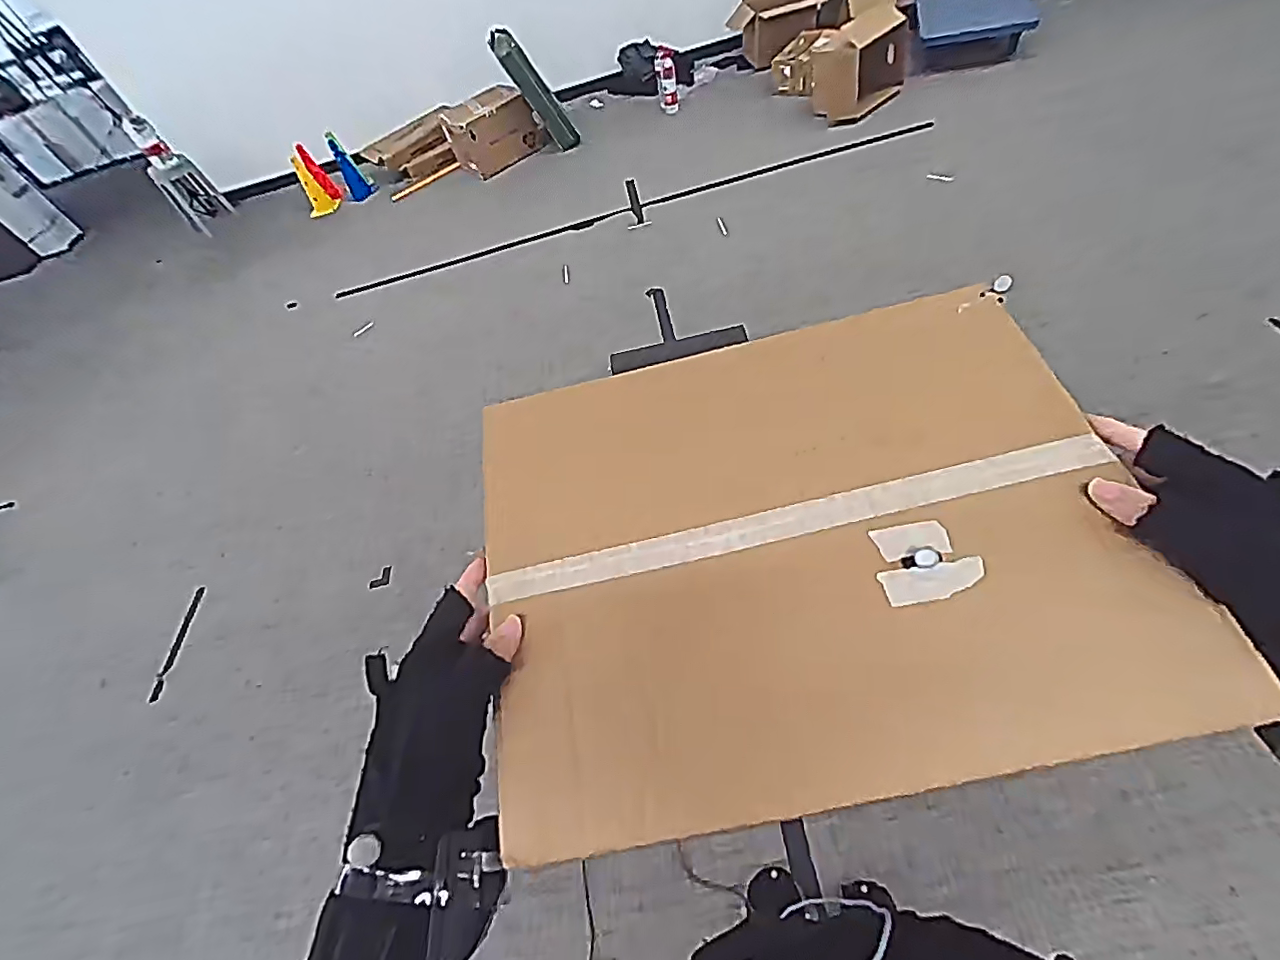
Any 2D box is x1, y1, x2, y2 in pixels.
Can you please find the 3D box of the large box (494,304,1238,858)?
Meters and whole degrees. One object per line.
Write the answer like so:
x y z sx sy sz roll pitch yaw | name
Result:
0.120 0.105 0.494 0.408 0.320 0.320 -13 61 3 | large box
